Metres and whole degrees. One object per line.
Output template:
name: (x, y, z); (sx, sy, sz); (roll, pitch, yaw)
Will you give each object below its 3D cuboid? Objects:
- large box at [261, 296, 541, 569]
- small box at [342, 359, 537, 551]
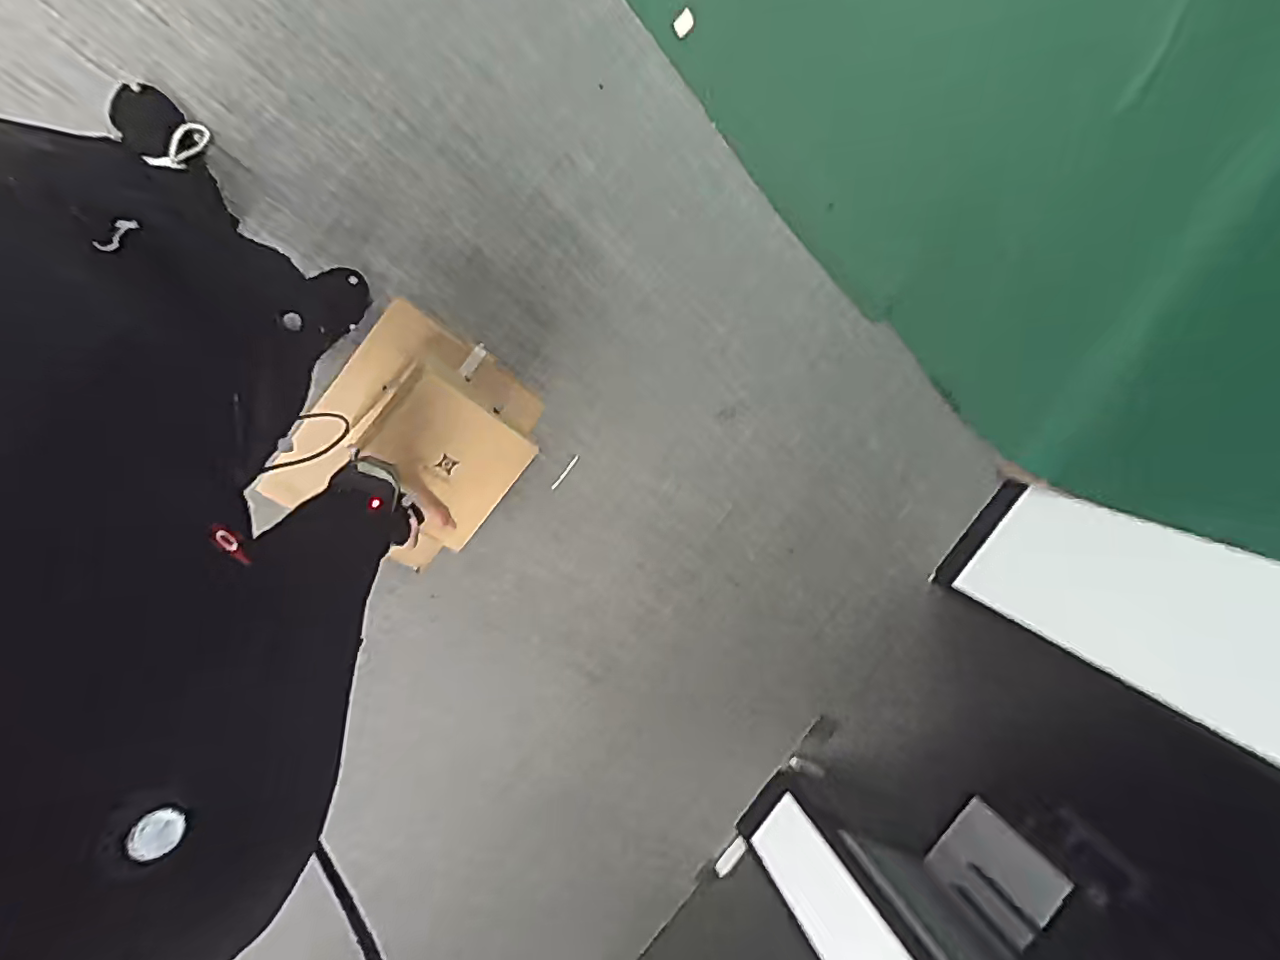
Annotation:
large box: (-0.461, -0.111, 1.092); (0.320, 0.320, 0.408); (36, 93, -27)
small box: (-0.270, -0.043, 0.733); (0.168, 0.176, 0.179); (38, 93, -29)
